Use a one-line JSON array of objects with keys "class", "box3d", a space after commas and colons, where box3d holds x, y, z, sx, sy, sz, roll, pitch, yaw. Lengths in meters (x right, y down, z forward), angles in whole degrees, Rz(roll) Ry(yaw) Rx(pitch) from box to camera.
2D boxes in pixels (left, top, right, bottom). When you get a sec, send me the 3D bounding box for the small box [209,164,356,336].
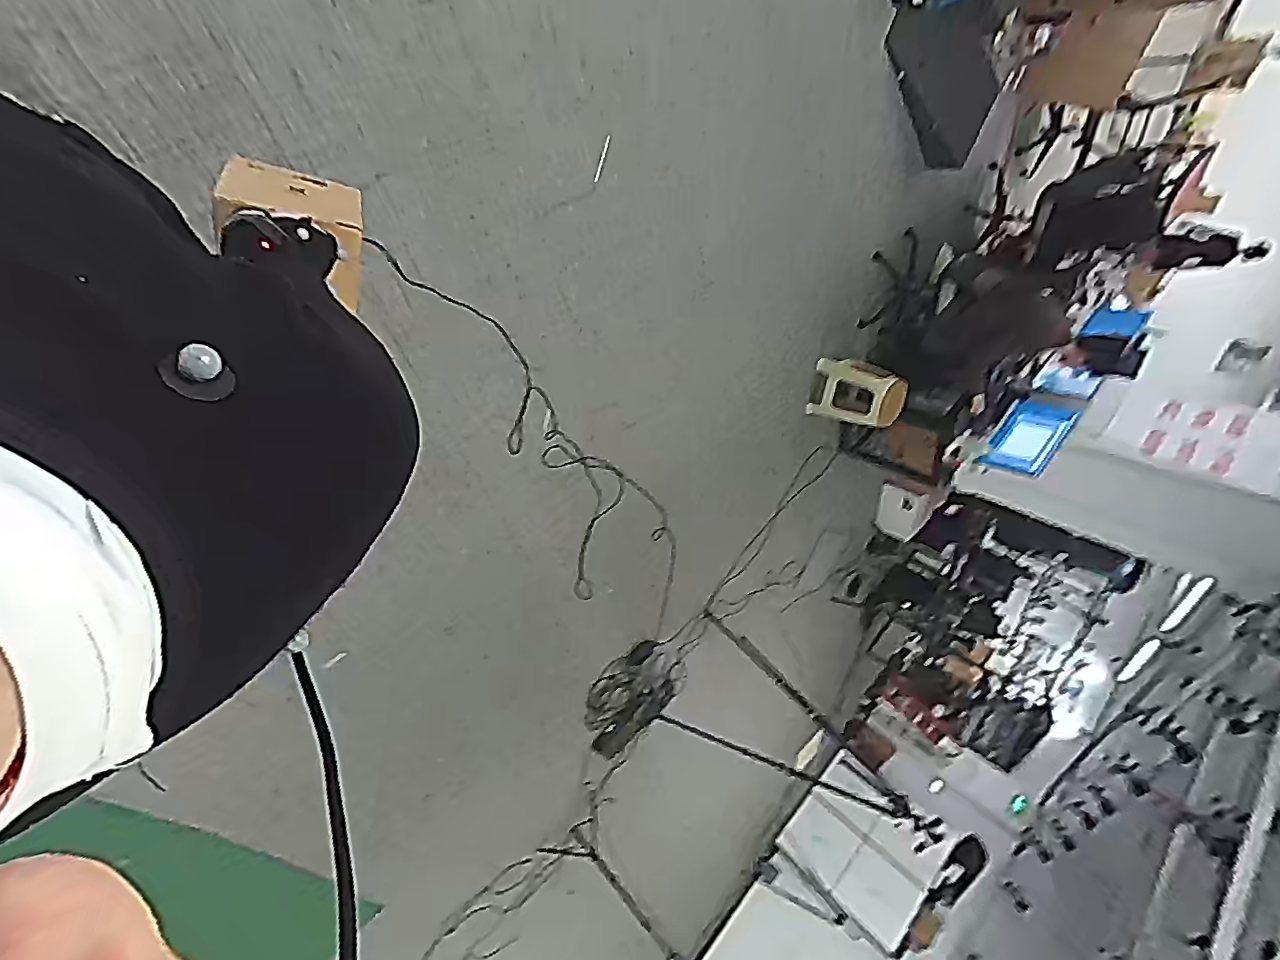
[{"class": "small box", "box3d": [-0.519, -0.334, 0.804, 0.168, 0.179, 0.176, 0, 132, -32]}]
